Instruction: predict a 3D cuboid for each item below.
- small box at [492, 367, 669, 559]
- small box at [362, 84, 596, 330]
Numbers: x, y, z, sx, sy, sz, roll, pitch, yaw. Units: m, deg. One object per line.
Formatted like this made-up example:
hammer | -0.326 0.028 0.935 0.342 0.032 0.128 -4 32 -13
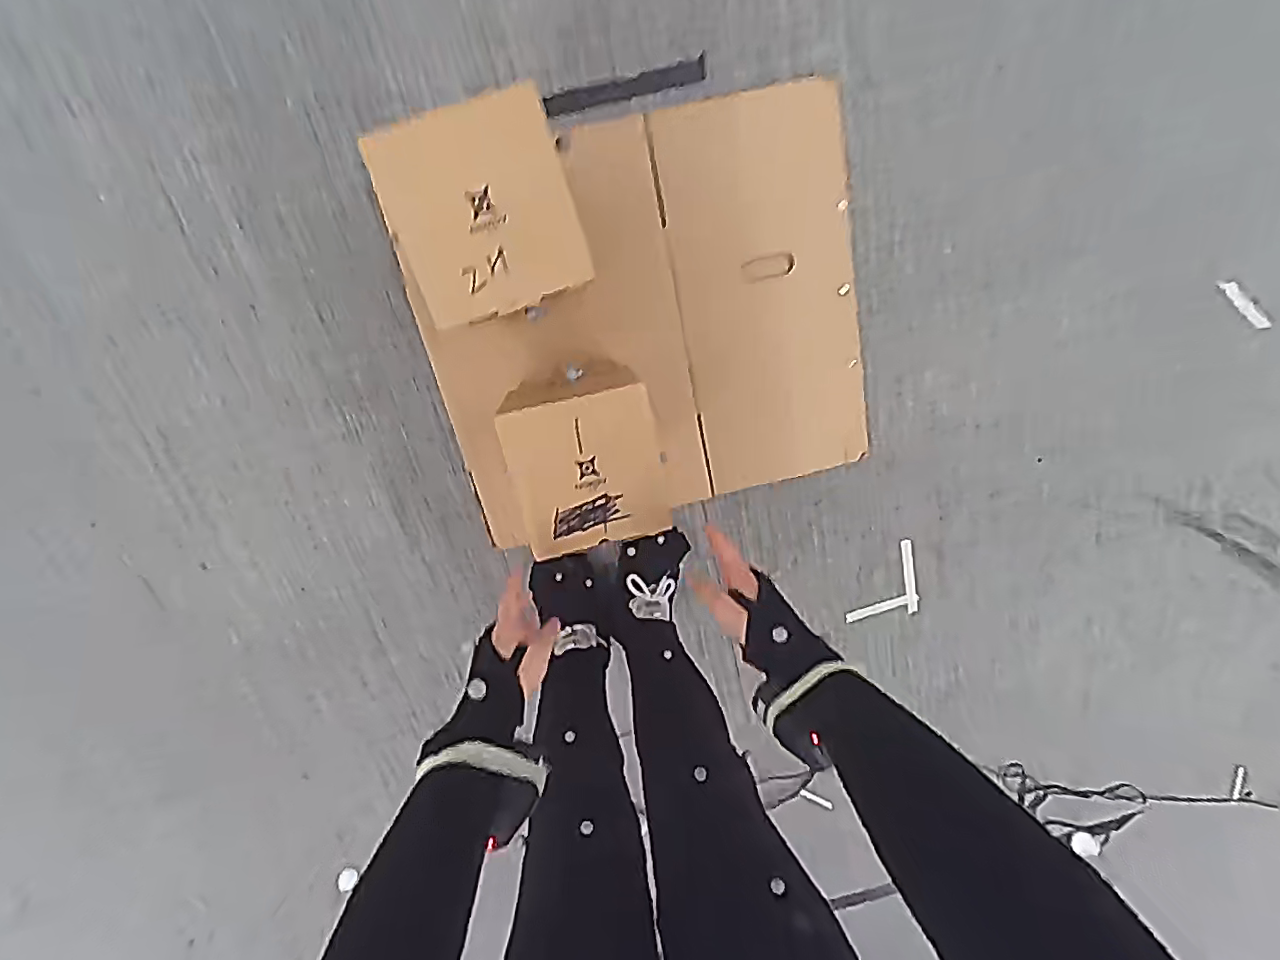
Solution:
small box | -0.069 -0.031 0.669 0.168 0.176 0.179 -13 109 -4
small box | -0.154 -0.271 0.578 0.168 0.176 0.179 -19 109 0
